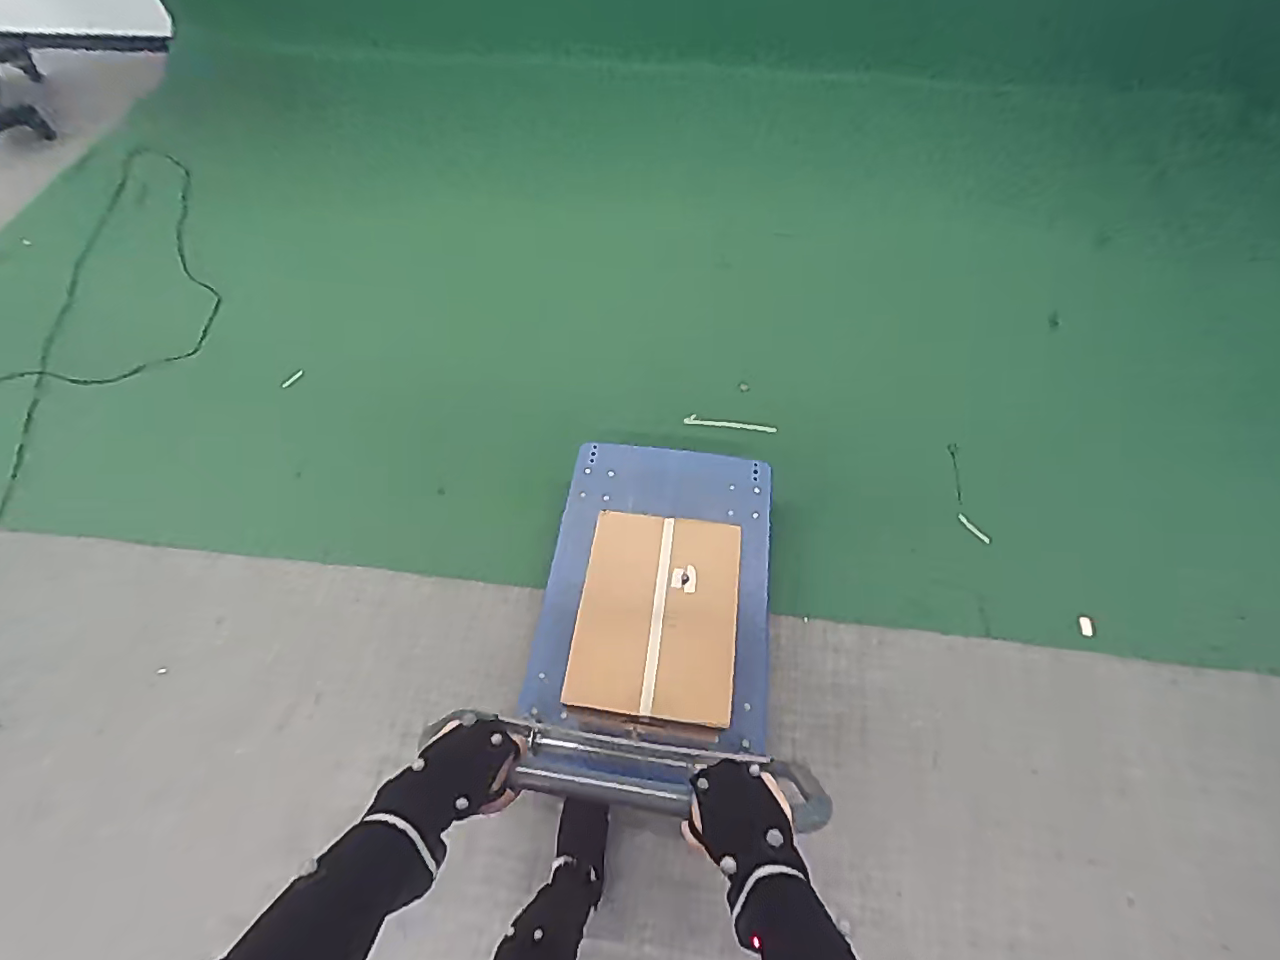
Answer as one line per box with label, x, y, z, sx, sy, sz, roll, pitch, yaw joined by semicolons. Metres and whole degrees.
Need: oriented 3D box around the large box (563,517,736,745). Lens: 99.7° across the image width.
large box;0.034;0.344;1.210;0.320;0.320;0.408;7;59;4
